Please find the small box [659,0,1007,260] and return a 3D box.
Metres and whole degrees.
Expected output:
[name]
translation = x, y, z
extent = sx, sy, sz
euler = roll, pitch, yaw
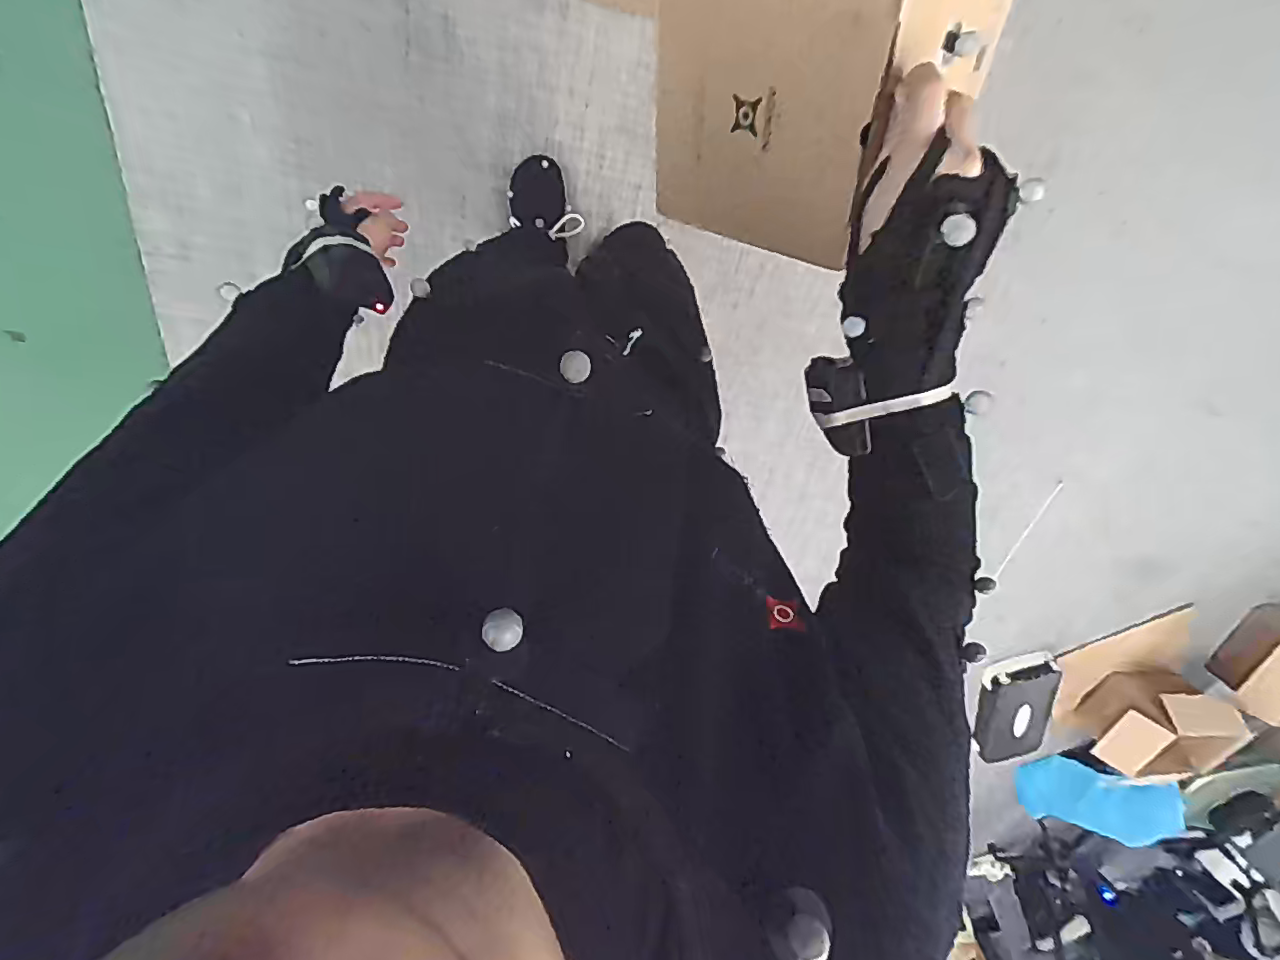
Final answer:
[small box]
translation = 0.133, -0.289, 0.395
extent = 0.176, 0.179, 0.168
euler = -37, 145, -31
